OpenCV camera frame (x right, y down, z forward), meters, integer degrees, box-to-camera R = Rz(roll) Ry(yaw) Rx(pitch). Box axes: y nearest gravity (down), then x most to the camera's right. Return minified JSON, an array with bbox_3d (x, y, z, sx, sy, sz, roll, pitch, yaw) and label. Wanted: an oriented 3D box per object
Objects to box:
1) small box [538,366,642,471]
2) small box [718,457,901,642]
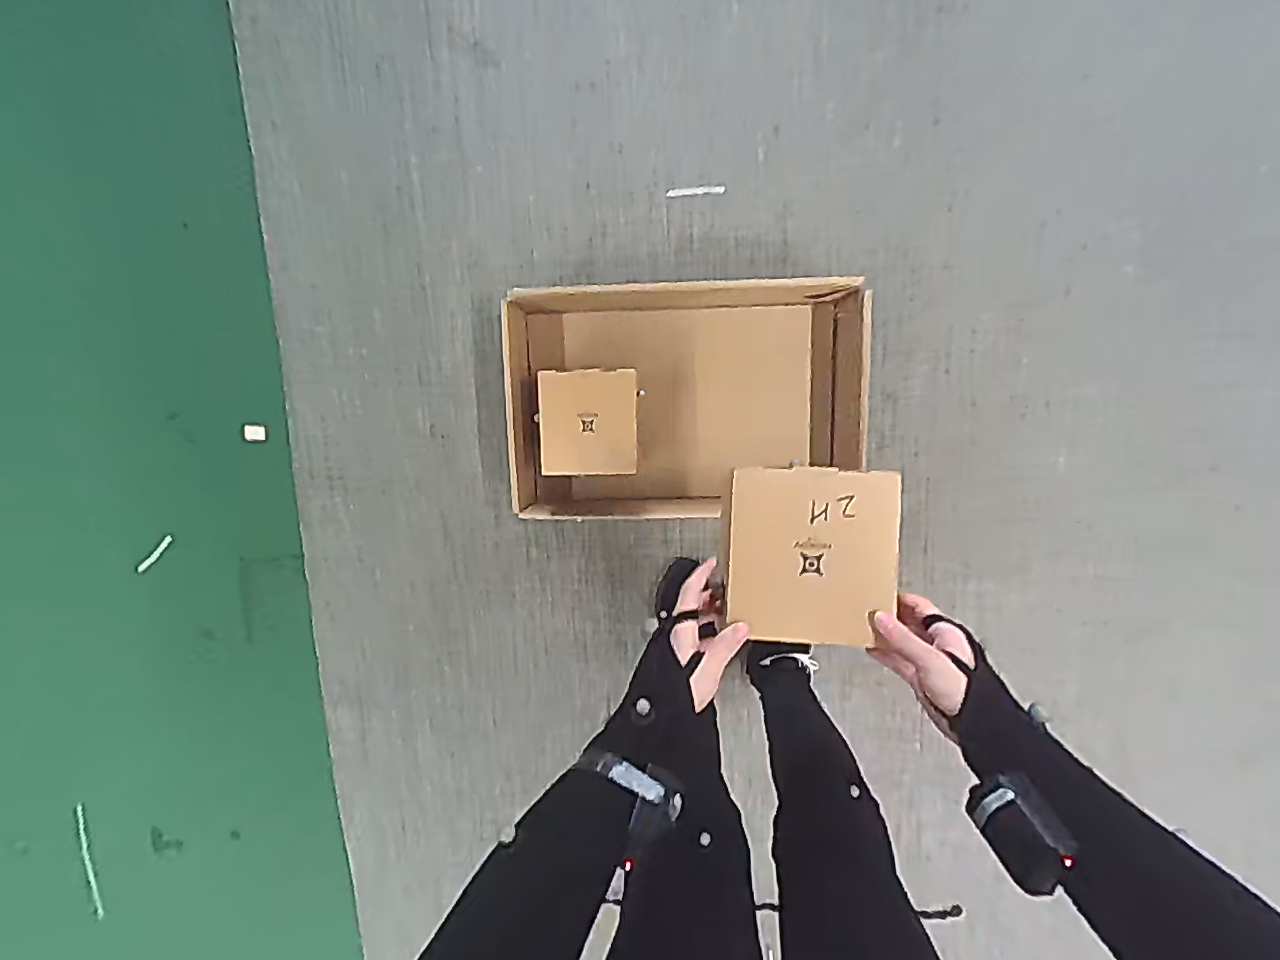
[{"bbox_3d":[-0.083,-0.113,0.980,0.168,0.176,0.179,0,98,3],"label":"small box"},{"bbox_3d":[0.179,0.069,0.618,0.168,0.176,0.179,3,89,5],"label":"small box"}]
